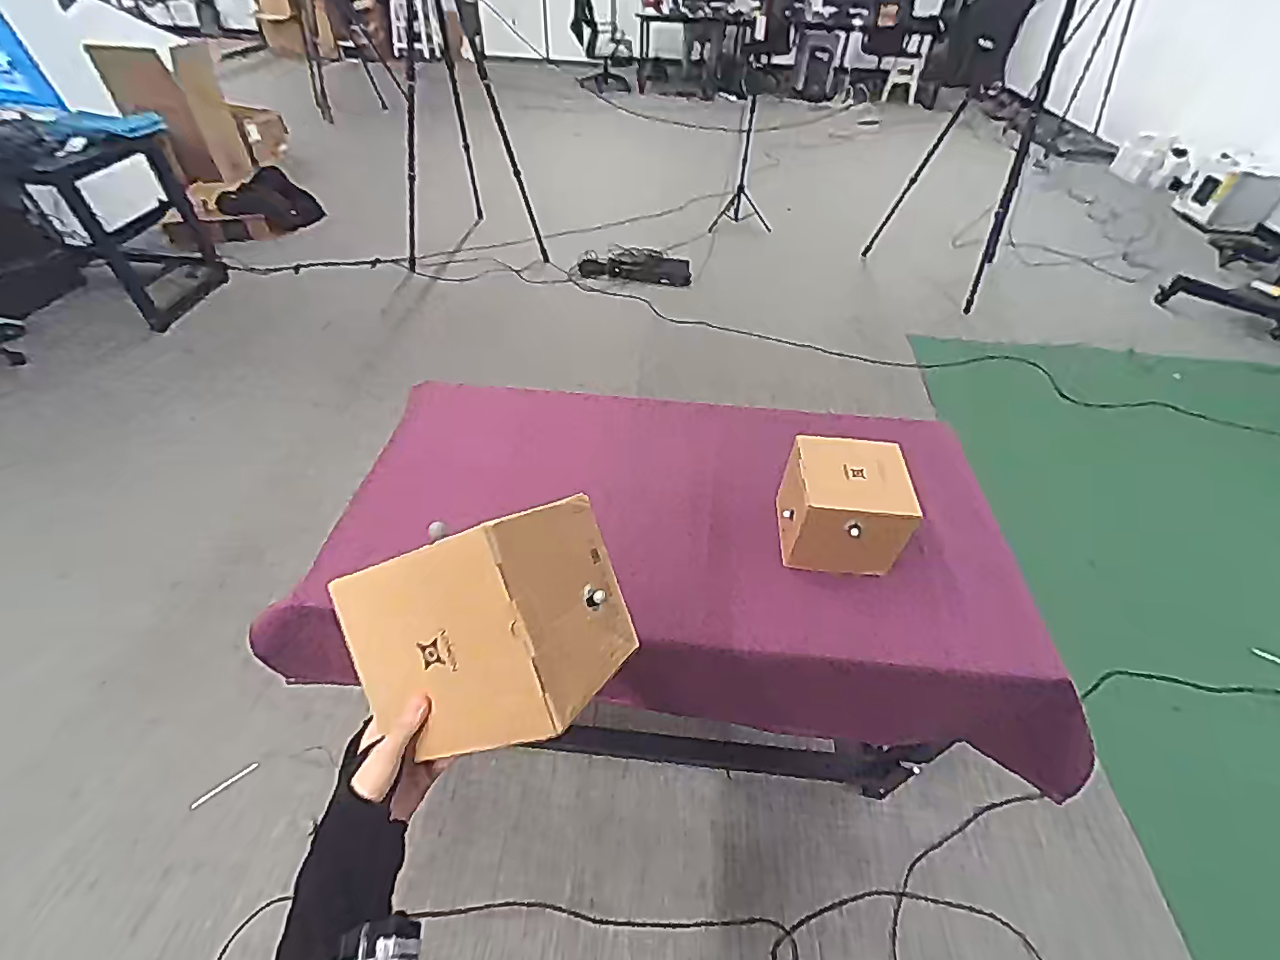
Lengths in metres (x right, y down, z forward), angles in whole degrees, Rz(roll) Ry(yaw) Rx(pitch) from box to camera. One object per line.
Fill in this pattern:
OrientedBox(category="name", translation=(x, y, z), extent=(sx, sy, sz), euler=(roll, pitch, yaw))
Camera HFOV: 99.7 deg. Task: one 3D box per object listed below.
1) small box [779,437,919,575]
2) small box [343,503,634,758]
OrientedBox(category="small box", translation=(0.343, 0.047, 0.932), extent=(0.179, 0.176, 0.168), euler=(6, 47, 3))
OrientedBox(category="small box", translation=(-0.130, 0.129, 0.512), extent=(0.179, 0.168, 0.176), euler=(-20, -2, 20))
